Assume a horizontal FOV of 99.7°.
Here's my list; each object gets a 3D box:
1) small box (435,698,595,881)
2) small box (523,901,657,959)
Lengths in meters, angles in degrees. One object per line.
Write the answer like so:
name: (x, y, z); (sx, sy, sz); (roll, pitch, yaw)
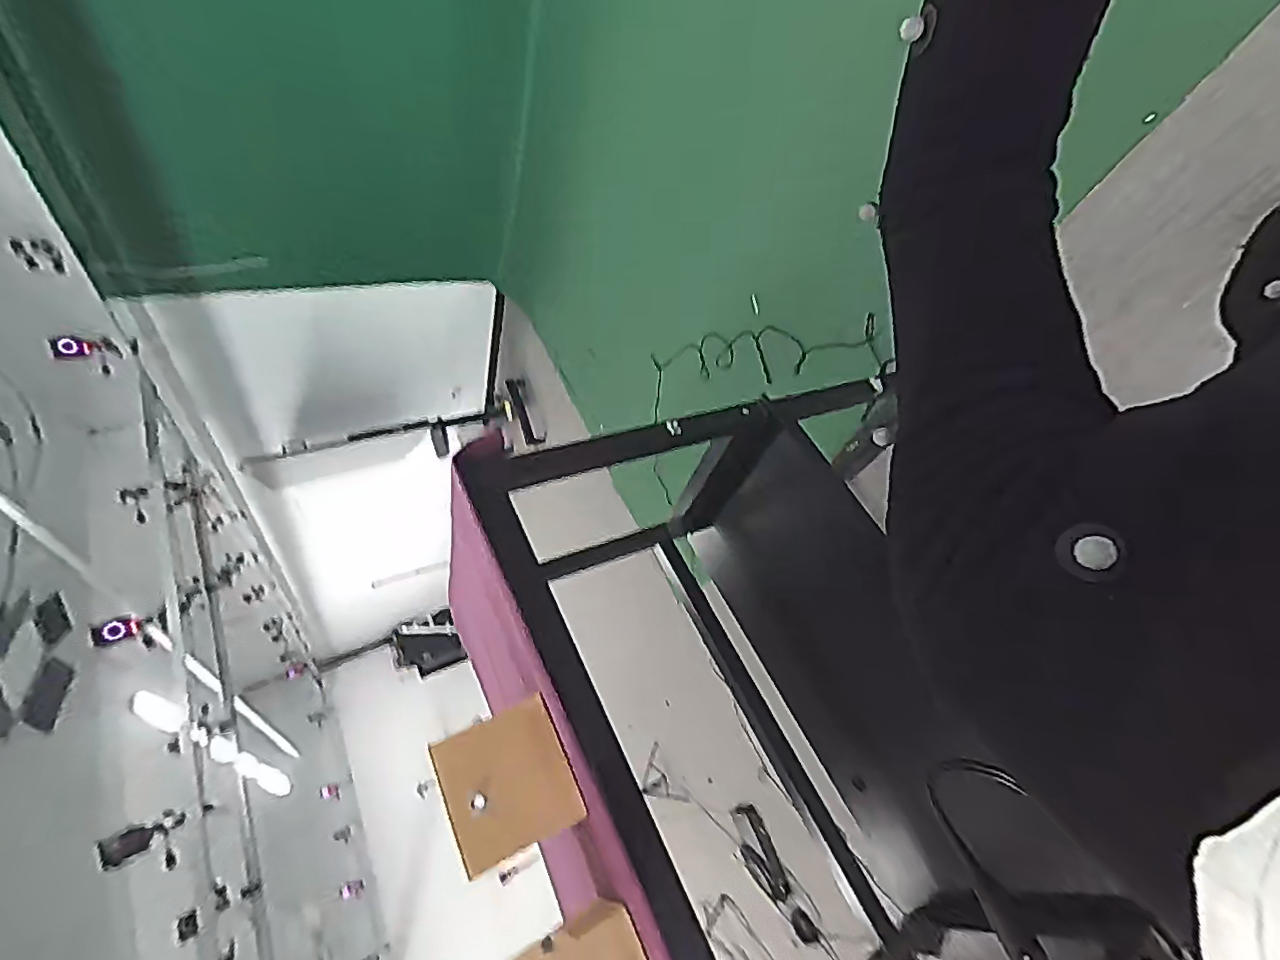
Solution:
small box: (-0.188, 0.441, 0.789); (0.179, 0.176, 0.168); (59, 149, 23)
small box: (-0.060, 0.664, 0.673); (0.168, 0.176, 0.179); (60, 149, 25)
